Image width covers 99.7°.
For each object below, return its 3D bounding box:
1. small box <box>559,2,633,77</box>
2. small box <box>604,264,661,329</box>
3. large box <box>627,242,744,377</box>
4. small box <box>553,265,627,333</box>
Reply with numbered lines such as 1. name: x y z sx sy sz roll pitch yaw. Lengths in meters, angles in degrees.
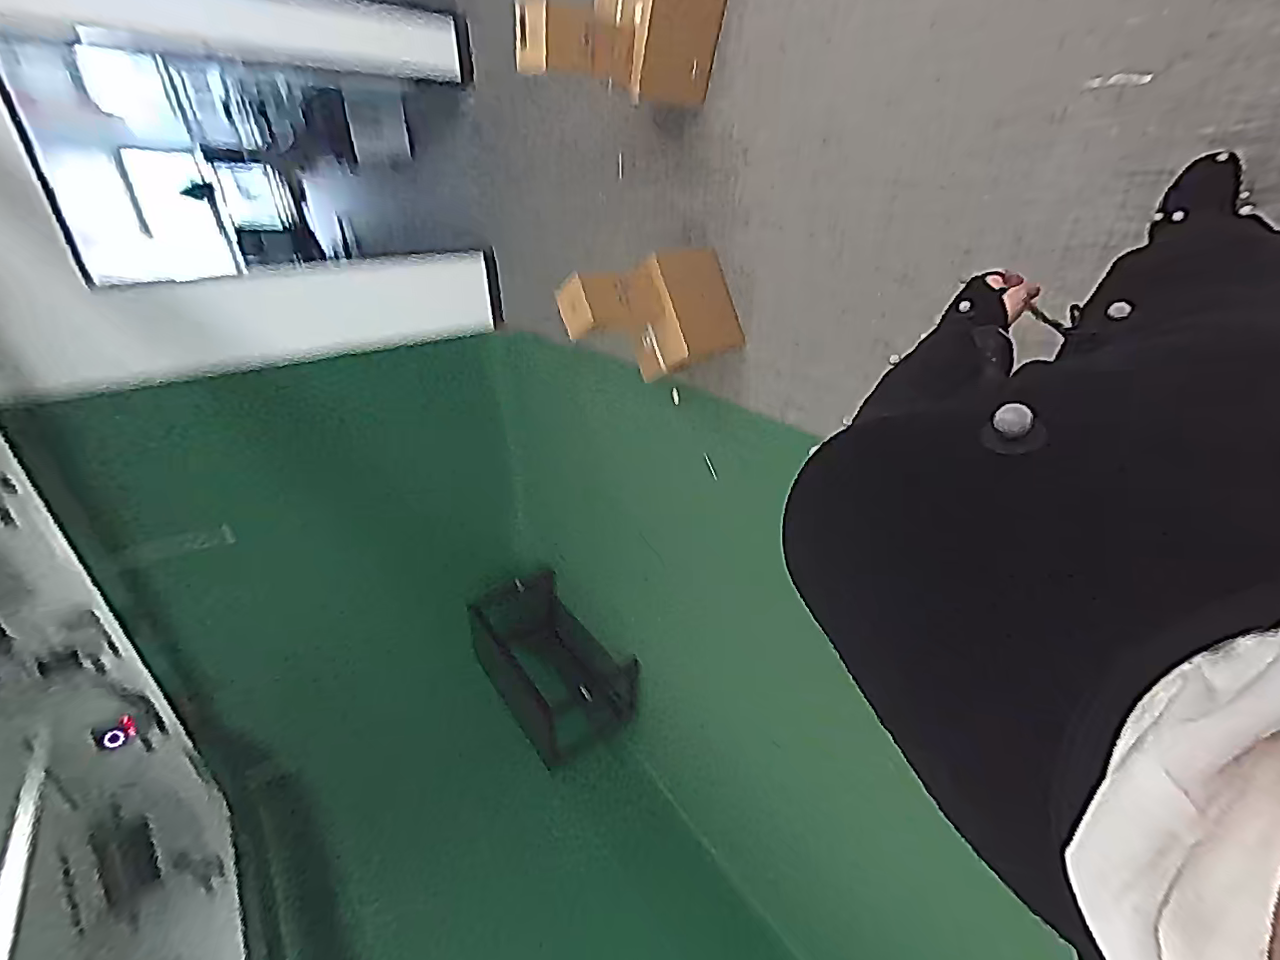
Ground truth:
1. small box: -0.141 -1.411 1.734 0.179 0.176 0.168 40 136 35
2. small box: -0.051 -0.678 1.990 0.168 0.176 0.179 -18 92 56
3. large box: 0.149 -0.676 2.154 0.320 0.320 0.408 -17 93 58
4. small box: -0.174 -0.633 1.893 0.179 0.176 0.168 -15 95 55
